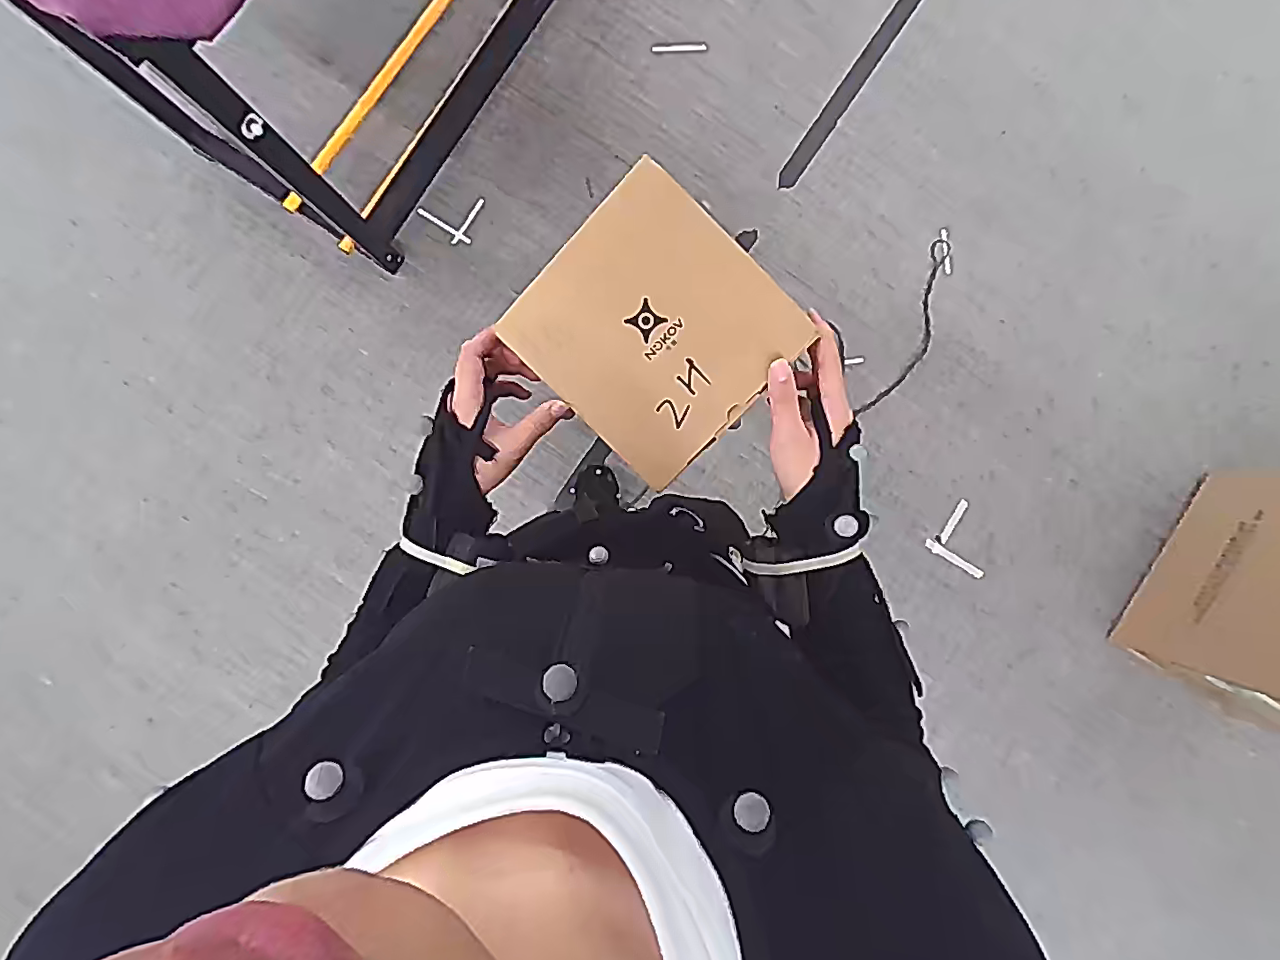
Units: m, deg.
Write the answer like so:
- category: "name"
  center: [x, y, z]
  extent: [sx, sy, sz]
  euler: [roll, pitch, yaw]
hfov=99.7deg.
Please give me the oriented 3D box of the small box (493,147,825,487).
- category: "small box"
  center: [0.016, -0.119, 0.454]
  extent: [0.179, 0.176, 0.168]
  euler: [45, 100, -3]
